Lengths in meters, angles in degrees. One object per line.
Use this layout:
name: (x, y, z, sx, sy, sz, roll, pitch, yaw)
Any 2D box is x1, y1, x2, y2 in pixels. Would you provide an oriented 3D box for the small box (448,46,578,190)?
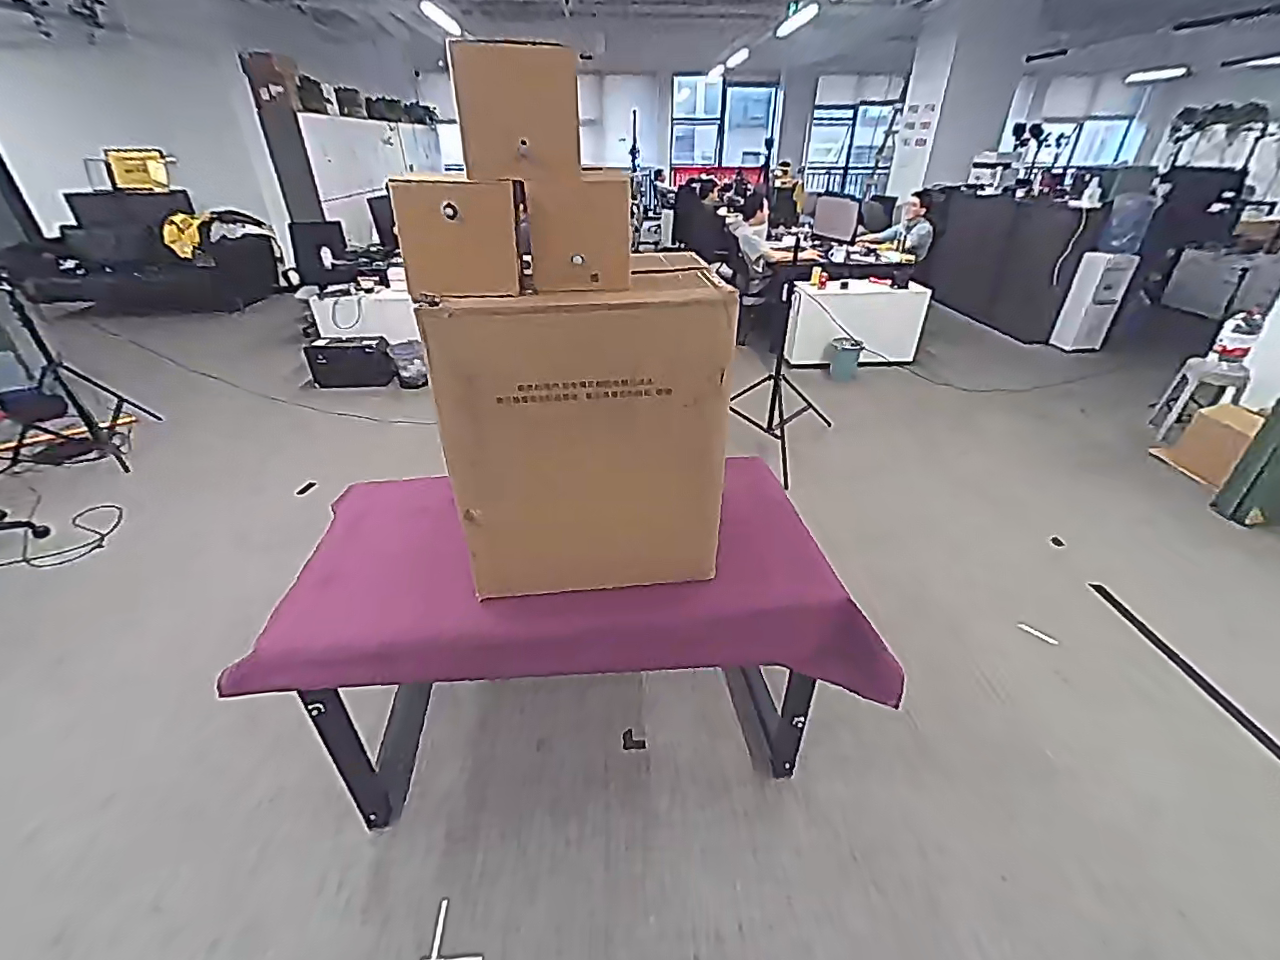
small box: (-0.195, -0.559, 0.846, 0.179, 0.176, 0.168, -8, 34, -14)

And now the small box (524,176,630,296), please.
small box: (-0.103, -0.430, 0.946, 0.168, 0.176, 0.179, -3, 34, -3)
